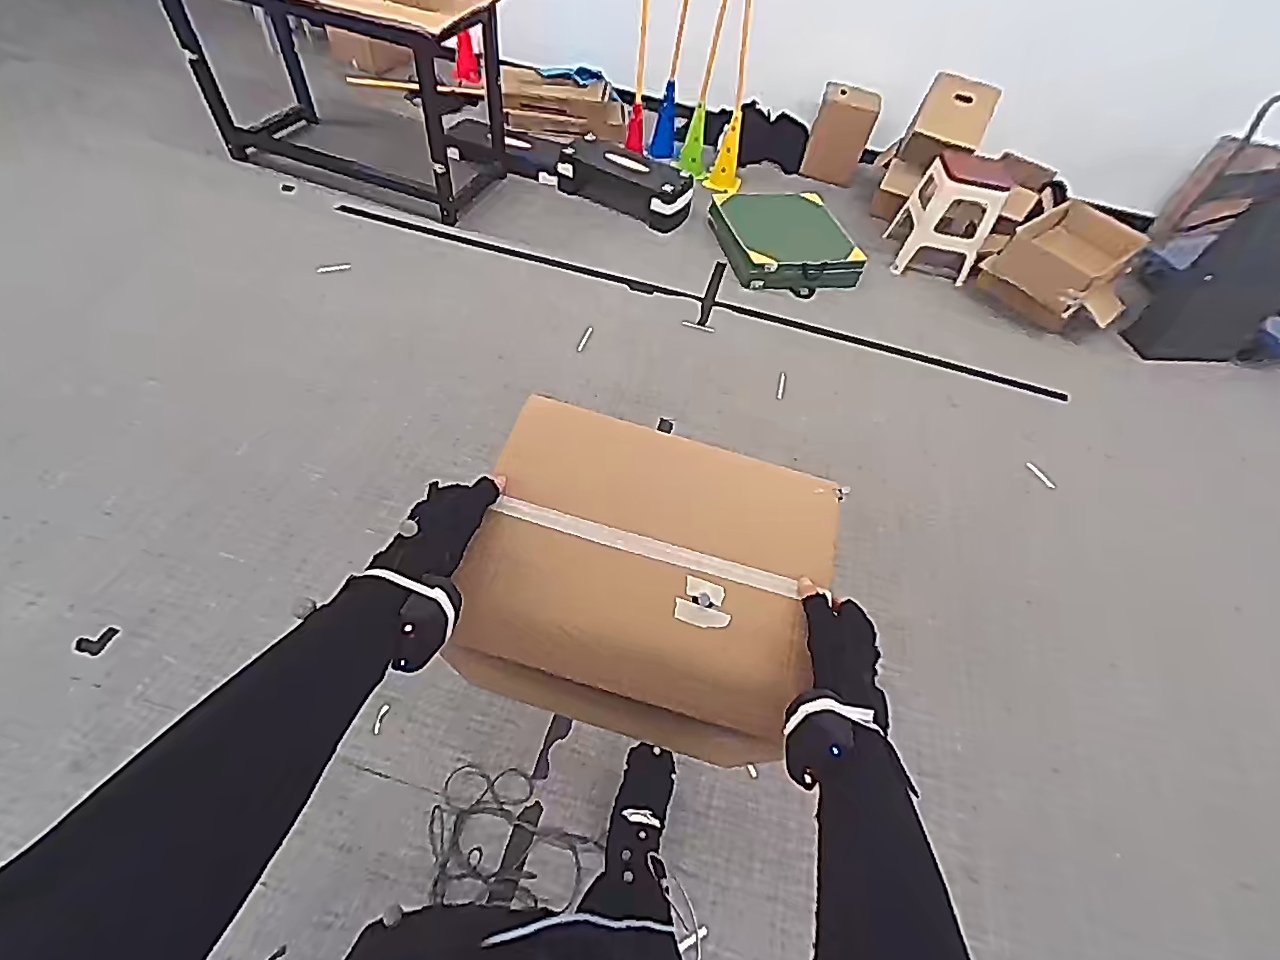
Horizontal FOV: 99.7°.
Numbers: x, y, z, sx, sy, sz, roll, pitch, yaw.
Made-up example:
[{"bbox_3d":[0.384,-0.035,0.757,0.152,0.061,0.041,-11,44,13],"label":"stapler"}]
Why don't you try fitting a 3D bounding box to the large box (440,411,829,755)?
[{"bbox_3d":[-0.002,0.159,0.751,0.408,0.320,0.320,16,61,1],"label":"large box"}]
